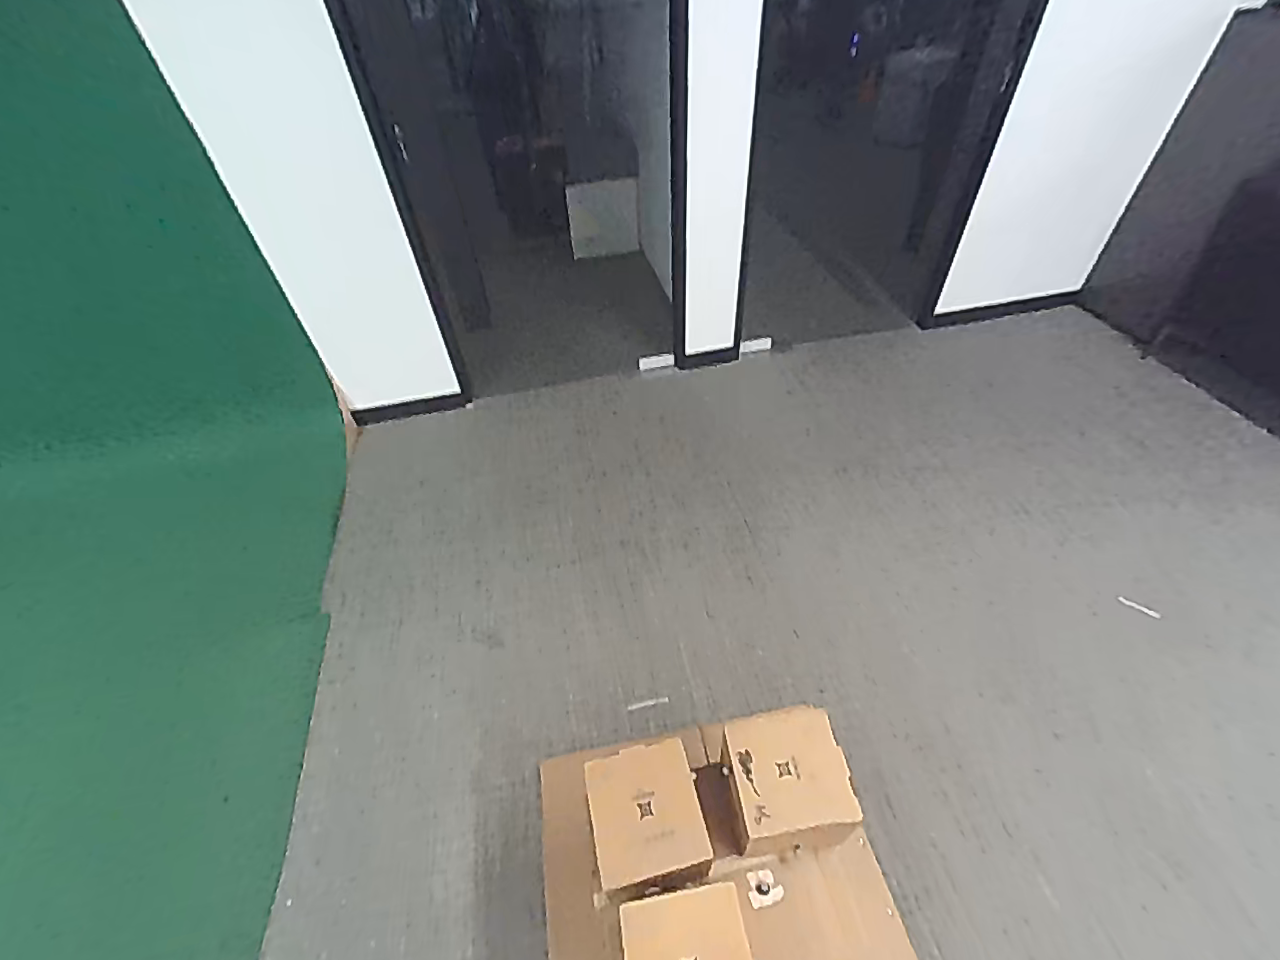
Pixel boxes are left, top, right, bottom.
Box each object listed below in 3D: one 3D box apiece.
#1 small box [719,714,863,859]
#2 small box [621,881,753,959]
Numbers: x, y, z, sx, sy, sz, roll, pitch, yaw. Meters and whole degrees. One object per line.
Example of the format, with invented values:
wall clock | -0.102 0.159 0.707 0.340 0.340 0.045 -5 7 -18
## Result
small box | 0.237 0.511 0.899 0.179 0.176 0.168 -7 46 -2
small box | 0.067 0.685 0.744 0.168 0.176 0.179 -9 48 -6
